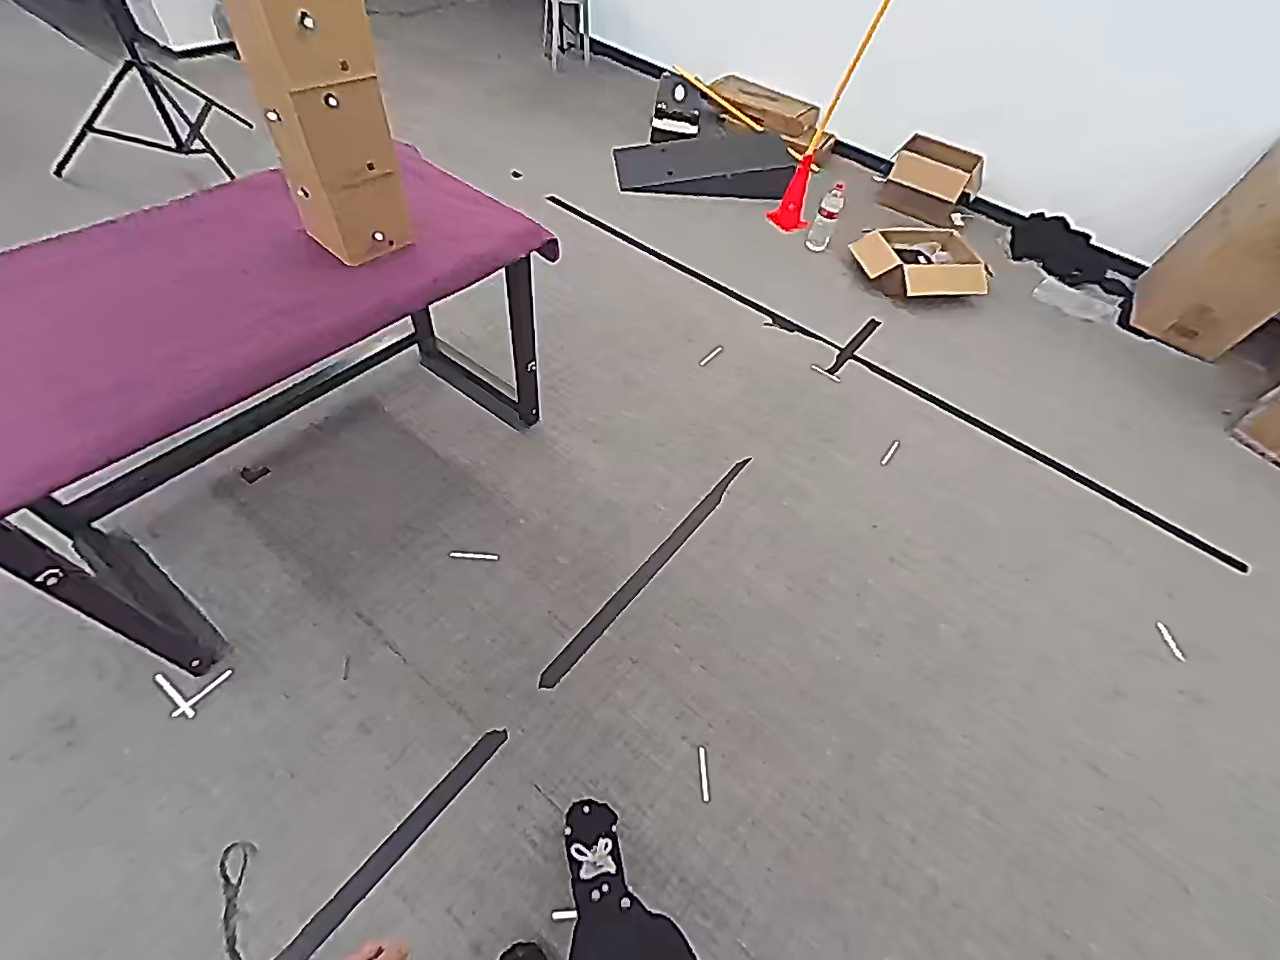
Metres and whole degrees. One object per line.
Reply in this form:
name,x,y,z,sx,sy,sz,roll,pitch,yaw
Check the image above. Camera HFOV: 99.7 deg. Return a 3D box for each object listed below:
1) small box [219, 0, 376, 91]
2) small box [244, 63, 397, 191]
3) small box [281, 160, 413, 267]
small box,-0.582,-0.783,0.912,0.179,0.176,0.168,39,59,20
small box,-0.606,-0.690,1.044,0.179,0.176,0.168,39,59,20
small box,-0.628,-0.596,1.177,0.179,0.176,0.168,38,58,18
